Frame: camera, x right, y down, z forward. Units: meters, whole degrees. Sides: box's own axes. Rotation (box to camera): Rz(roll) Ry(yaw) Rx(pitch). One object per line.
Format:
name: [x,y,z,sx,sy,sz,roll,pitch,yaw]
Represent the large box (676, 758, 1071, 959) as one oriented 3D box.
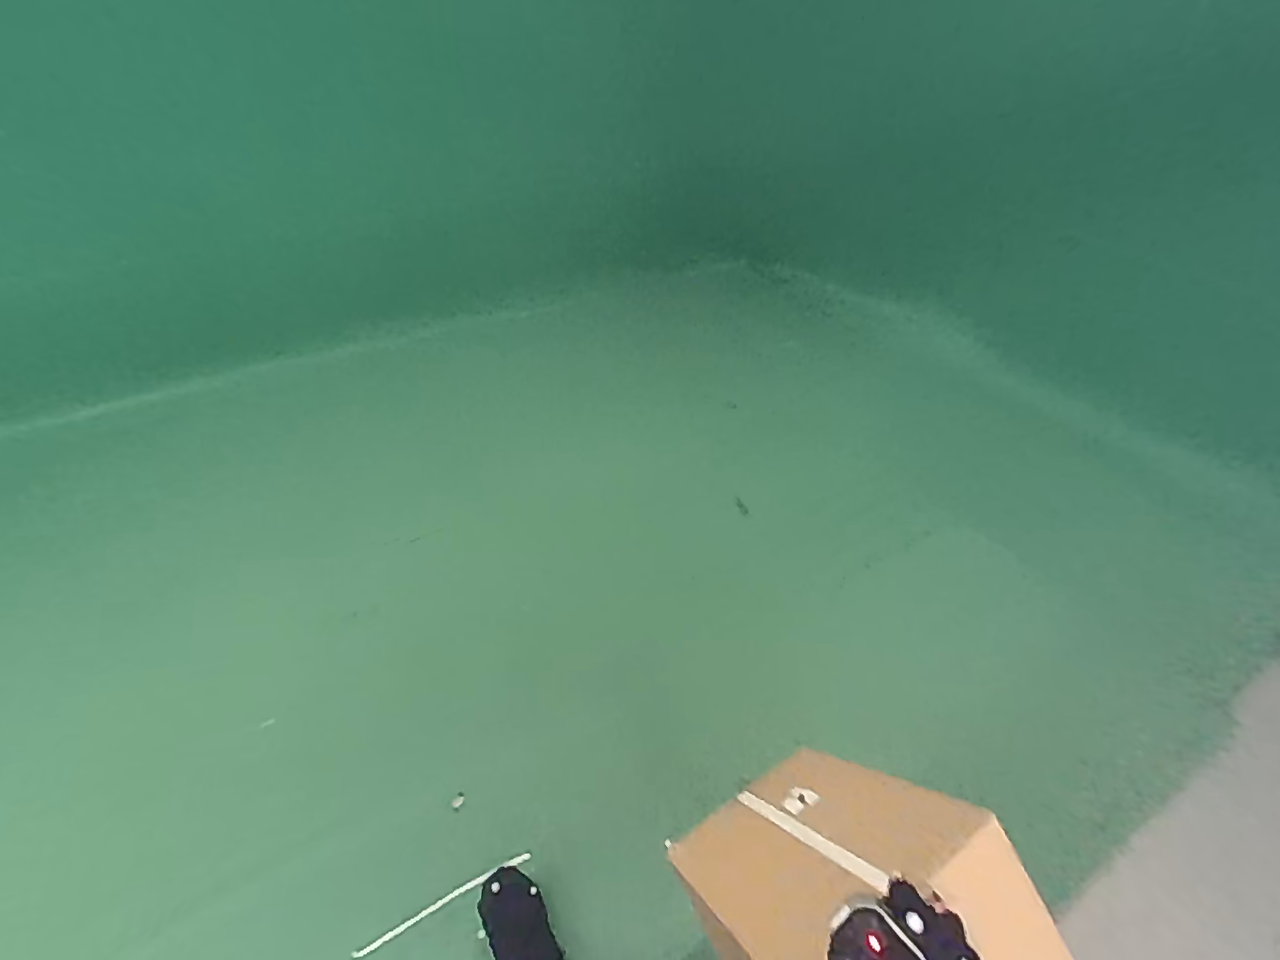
large box: [0.308,0.646,0.746,0.320,0.408,0.320,-23,80,-21]
